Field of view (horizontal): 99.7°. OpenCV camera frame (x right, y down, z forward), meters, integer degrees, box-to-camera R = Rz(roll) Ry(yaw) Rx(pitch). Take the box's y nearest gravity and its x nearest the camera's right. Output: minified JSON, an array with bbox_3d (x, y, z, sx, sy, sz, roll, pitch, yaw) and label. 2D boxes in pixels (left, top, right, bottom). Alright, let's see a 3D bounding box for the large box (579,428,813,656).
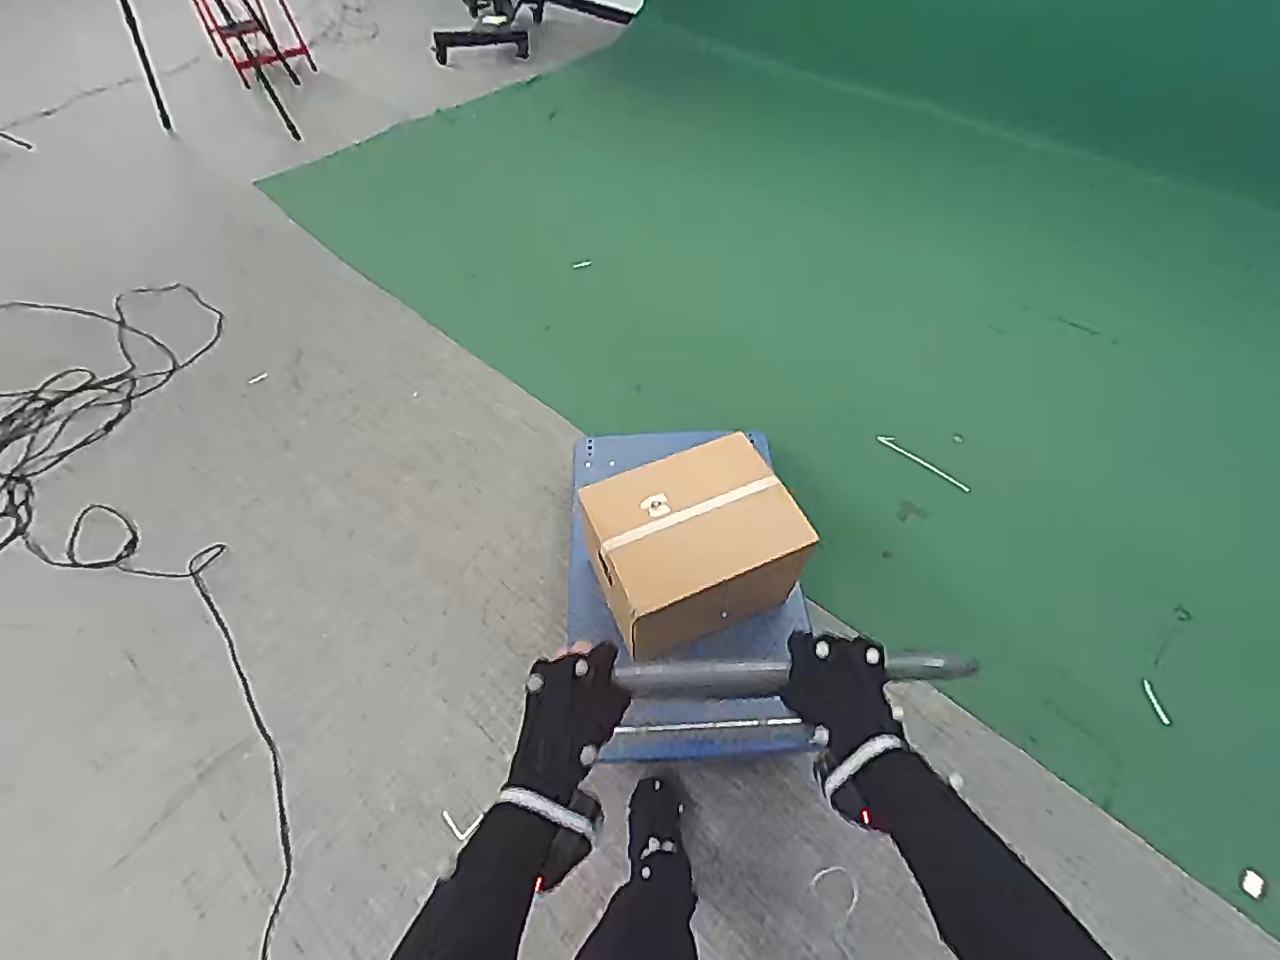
[{"bbox_3d":[0.114,0.145,1.240,0.408,0.320,0.320,-21,57,-12],"label":"large box"}]
